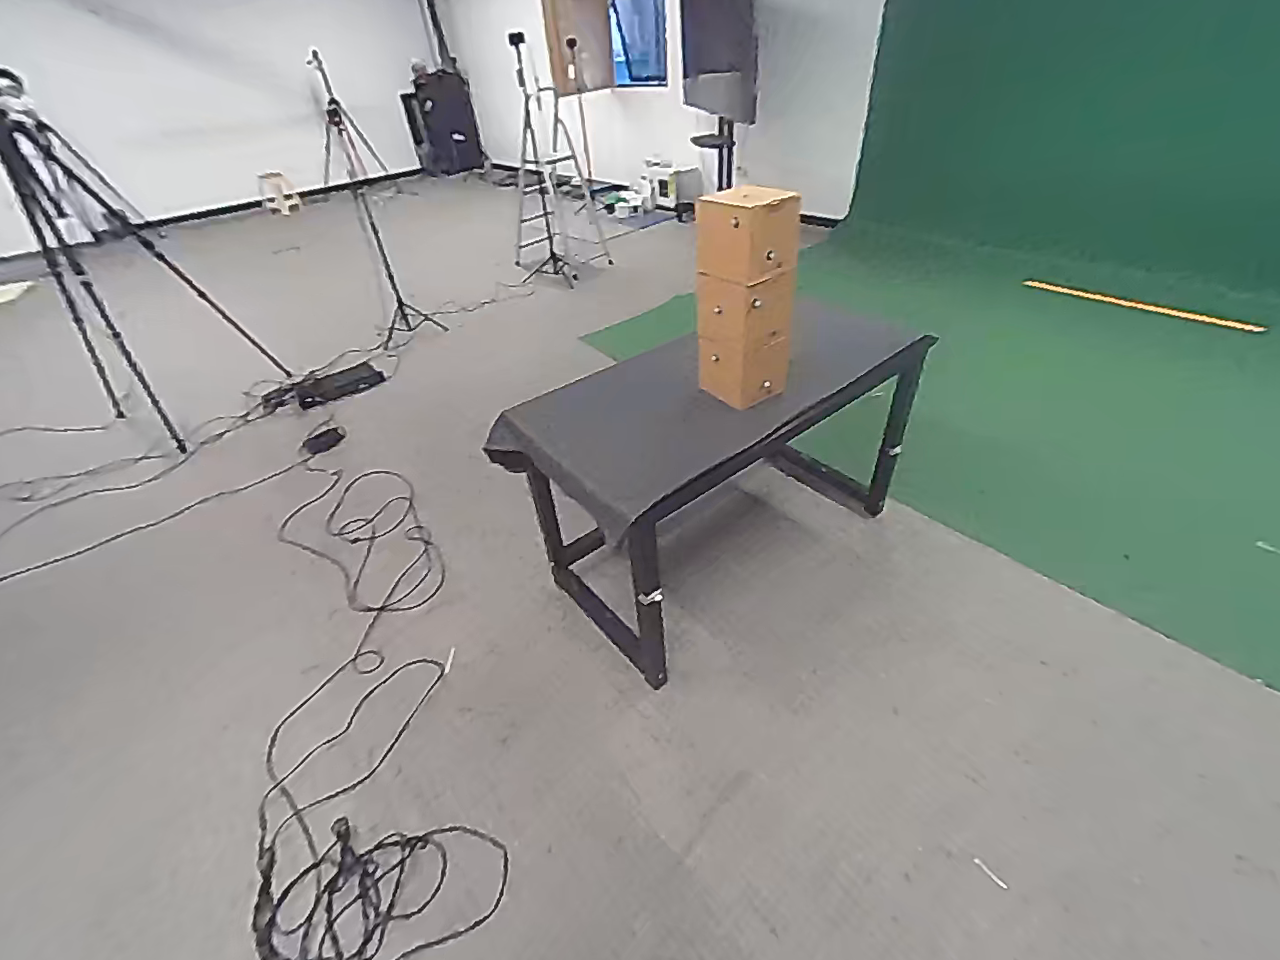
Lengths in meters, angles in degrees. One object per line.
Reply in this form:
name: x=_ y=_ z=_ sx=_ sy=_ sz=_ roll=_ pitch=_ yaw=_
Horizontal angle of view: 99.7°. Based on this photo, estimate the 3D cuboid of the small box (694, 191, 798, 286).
small box: x=0.244 y=-0.568 z=1.270 sx=0.168 sy=0.176 sz=0.179 roll=-29 pitch=43 yaw=-27

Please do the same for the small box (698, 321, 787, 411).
small box: x=0.273 y=-0.311 z=1.470 sx=0.168 sy=0.176 sz=0.179 roll=-26 pitch=43 yaw=-24
